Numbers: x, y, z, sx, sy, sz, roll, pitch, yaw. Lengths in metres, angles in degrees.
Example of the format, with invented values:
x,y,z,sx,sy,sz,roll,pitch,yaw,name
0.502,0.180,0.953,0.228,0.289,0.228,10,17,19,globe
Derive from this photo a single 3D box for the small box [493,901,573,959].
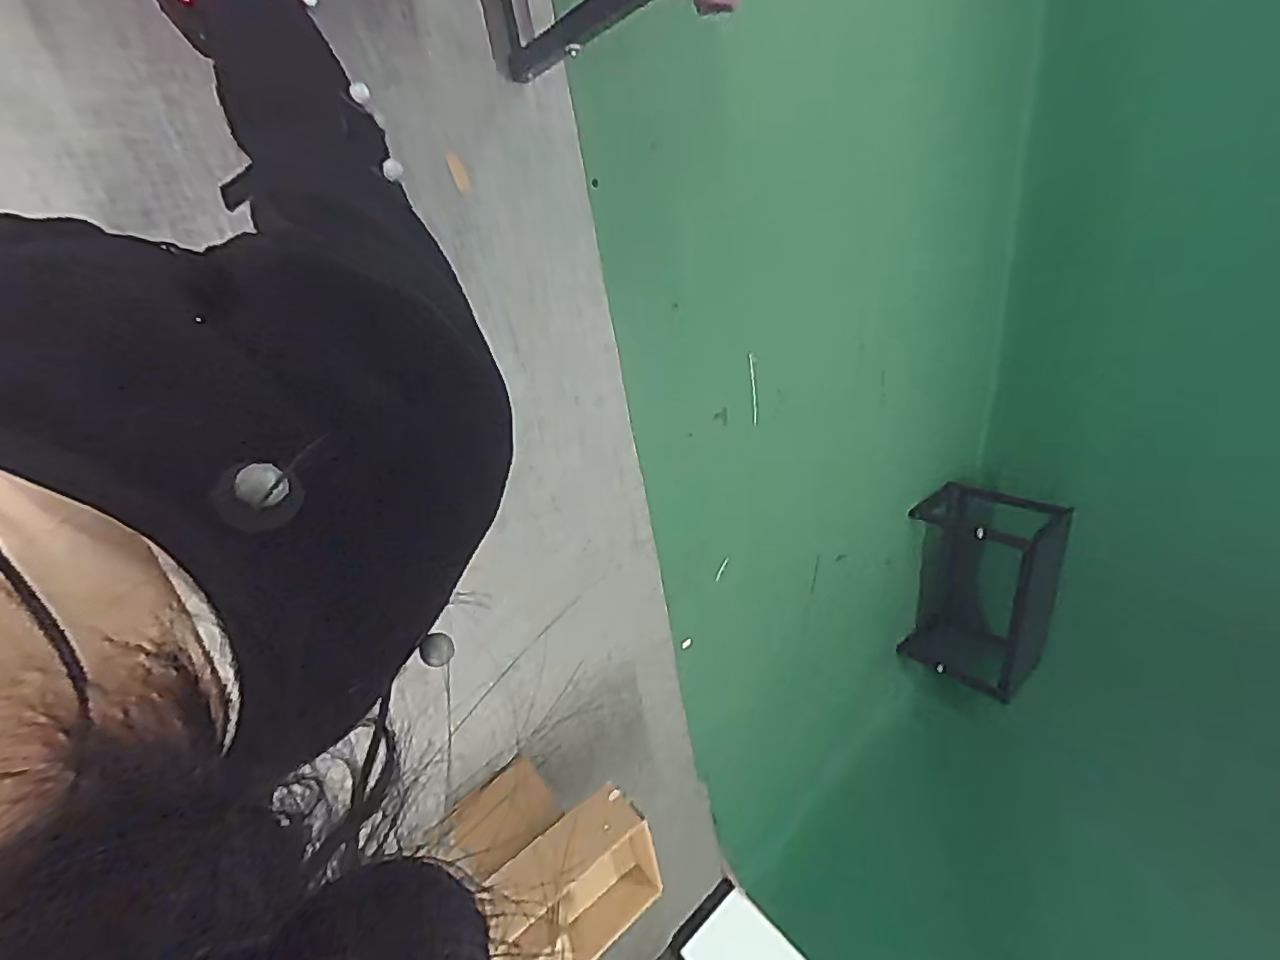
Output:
x,y,z,sx,sy,sz,roll,pitch,yaw,name
-0.300,1.350,1.529,0.168,0.176,0.179,-20,115,-33,small box
